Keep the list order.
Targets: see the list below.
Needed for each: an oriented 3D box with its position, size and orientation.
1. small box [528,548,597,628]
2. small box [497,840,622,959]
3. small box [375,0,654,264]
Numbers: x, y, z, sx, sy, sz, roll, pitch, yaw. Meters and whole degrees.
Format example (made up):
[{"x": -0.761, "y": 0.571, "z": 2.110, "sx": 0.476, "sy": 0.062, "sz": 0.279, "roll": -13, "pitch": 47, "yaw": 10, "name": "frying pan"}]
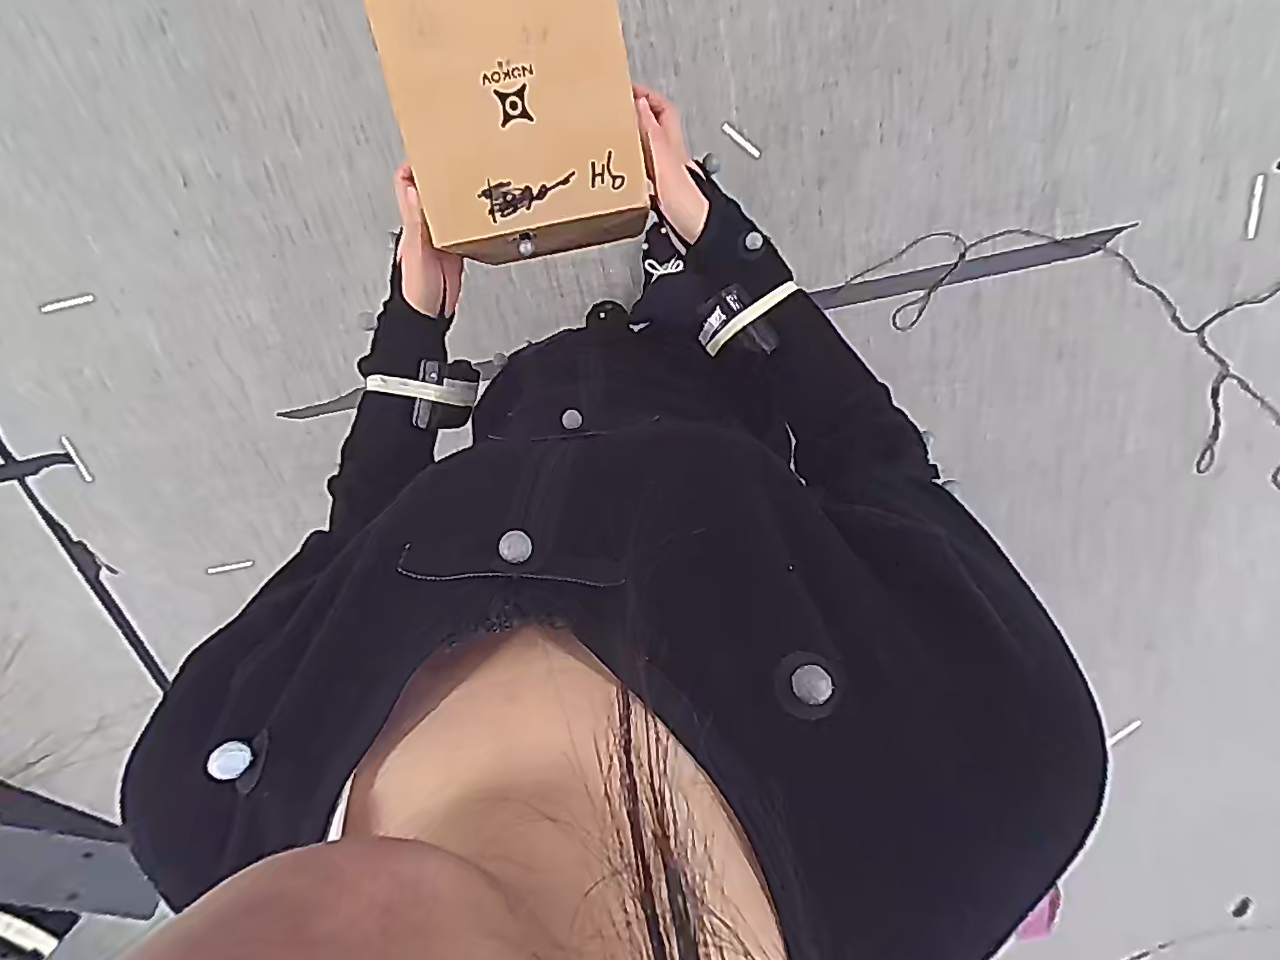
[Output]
[{"x": -0.222, "y": 0.310, "z": 1.575, "sx": 0.179, "sy": 0.176, "sz": 0.168, "roll": 4, "pitch": 110, "yaw": -2, "name": "small box"}, {"x": -0.134, "y": 0.790, "z": 0.974, "sx": 0.179, "sy": 0.176, "sz": 0.168, "roll": -10, "pitch": 111, "yaw": 4, "name": "small box"}, {"x": -0.087, "y": -0.291, "z": 0.447, "sx": 0.168, "sy": 0.176, "sz": 0.179, "roll": -10, "pitch": 107, "yaw": 1, "name": "small box"}]
